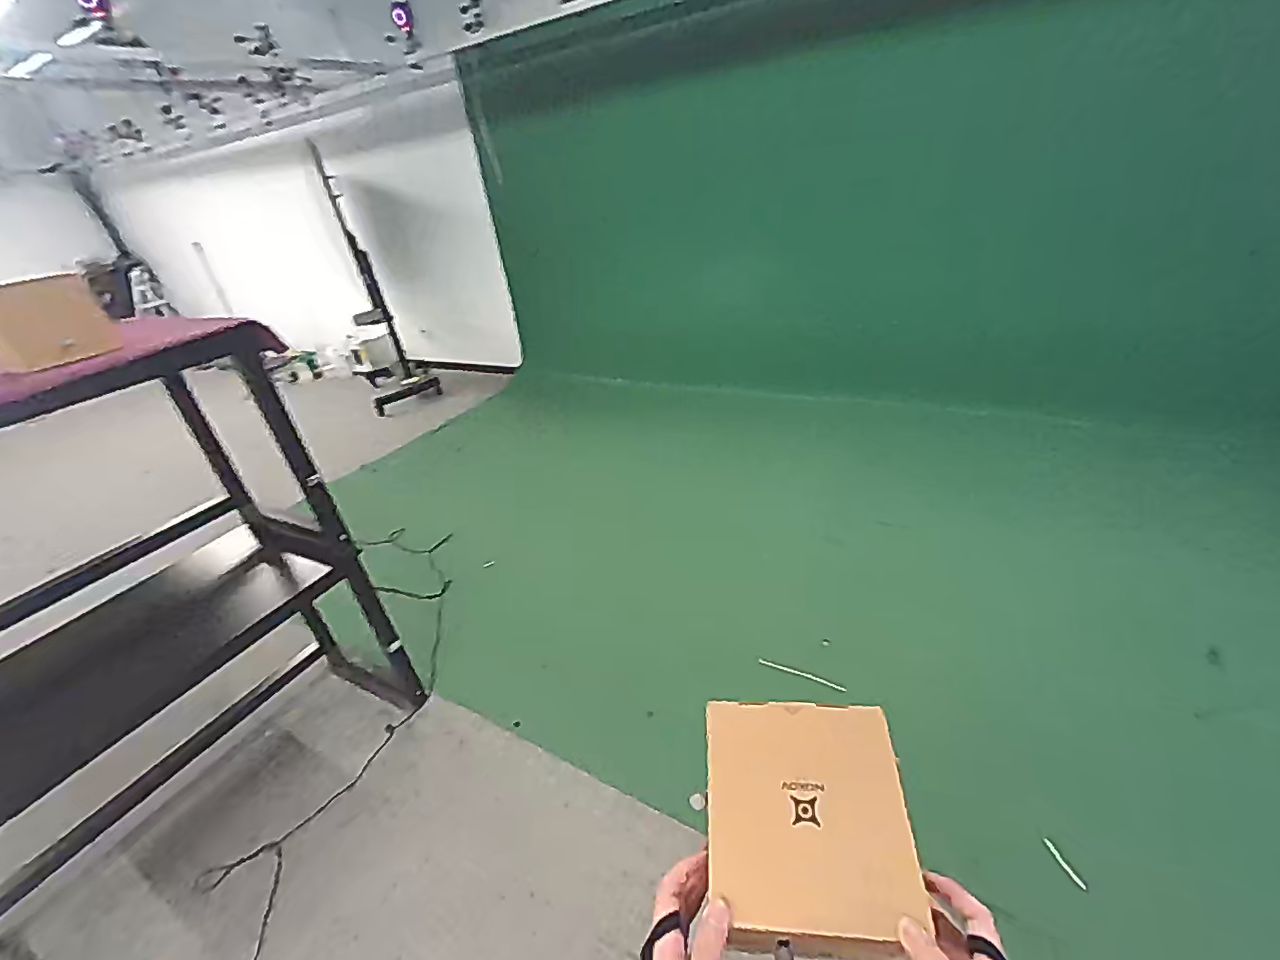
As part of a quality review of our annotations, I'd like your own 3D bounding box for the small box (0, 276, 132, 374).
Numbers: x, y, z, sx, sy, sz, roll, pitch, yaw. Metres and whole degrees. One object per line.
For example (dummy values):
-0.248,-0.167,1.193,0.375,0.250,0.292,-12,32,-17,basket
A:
-1.283,-0.345,1.196,0.168,0.176,0.179,8,33,30,small box
